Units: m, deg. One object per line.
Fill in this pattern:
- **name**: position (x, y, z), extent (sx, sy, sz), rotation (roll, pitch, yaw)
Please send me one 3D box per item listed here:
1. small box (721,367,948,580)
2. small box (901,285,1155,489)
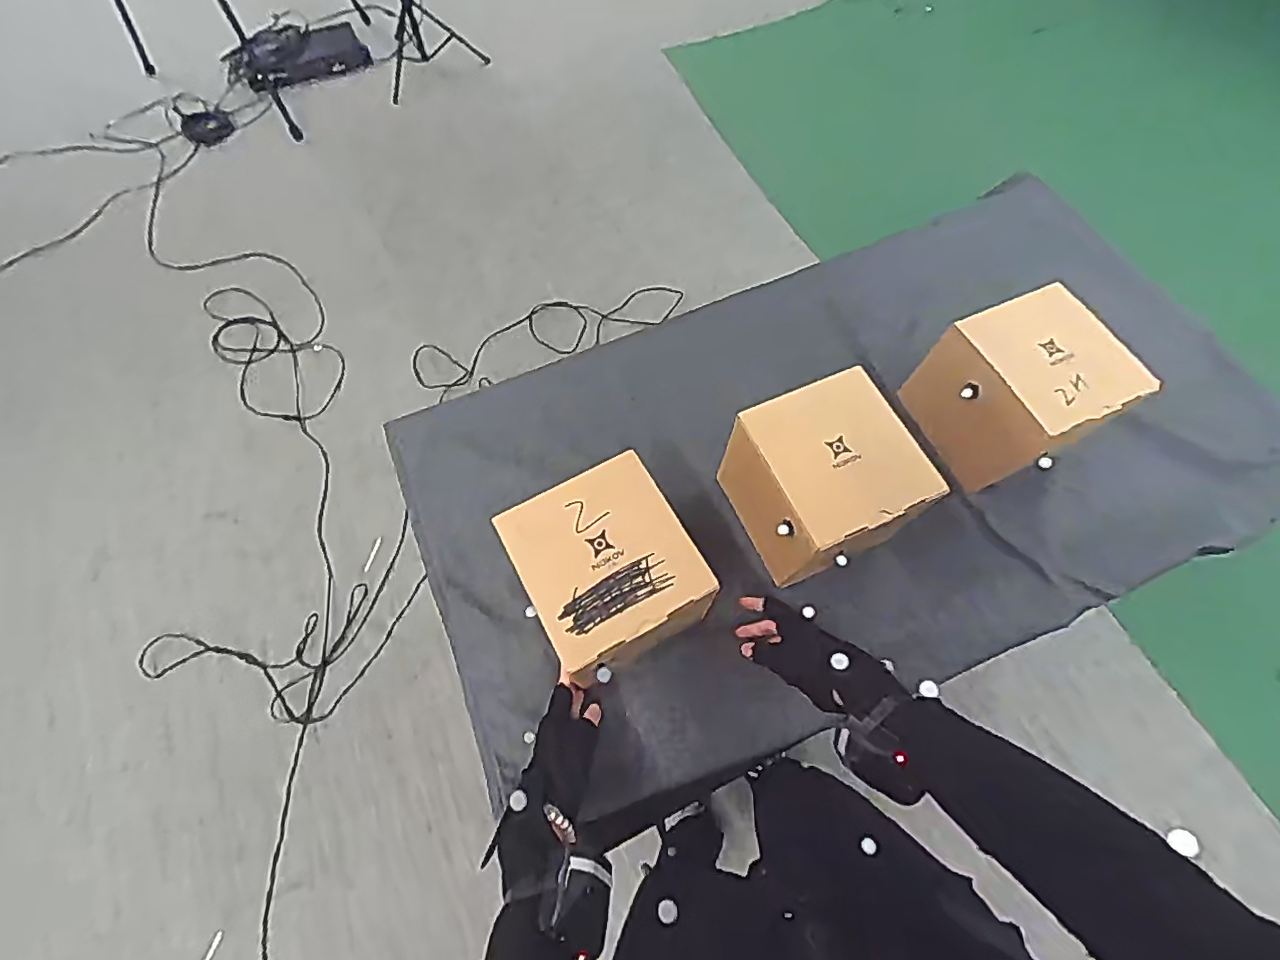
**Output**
- **small box**: position (0.216, -0.001, 0.659), extent (0.168, 0.176, 0.179), rotation (-22, 70, -11)
- **small box**: position (0.487, -0.115, 0.713), extent (0.168, 0.176, 0.179), rotation (-22, 69, -10)
